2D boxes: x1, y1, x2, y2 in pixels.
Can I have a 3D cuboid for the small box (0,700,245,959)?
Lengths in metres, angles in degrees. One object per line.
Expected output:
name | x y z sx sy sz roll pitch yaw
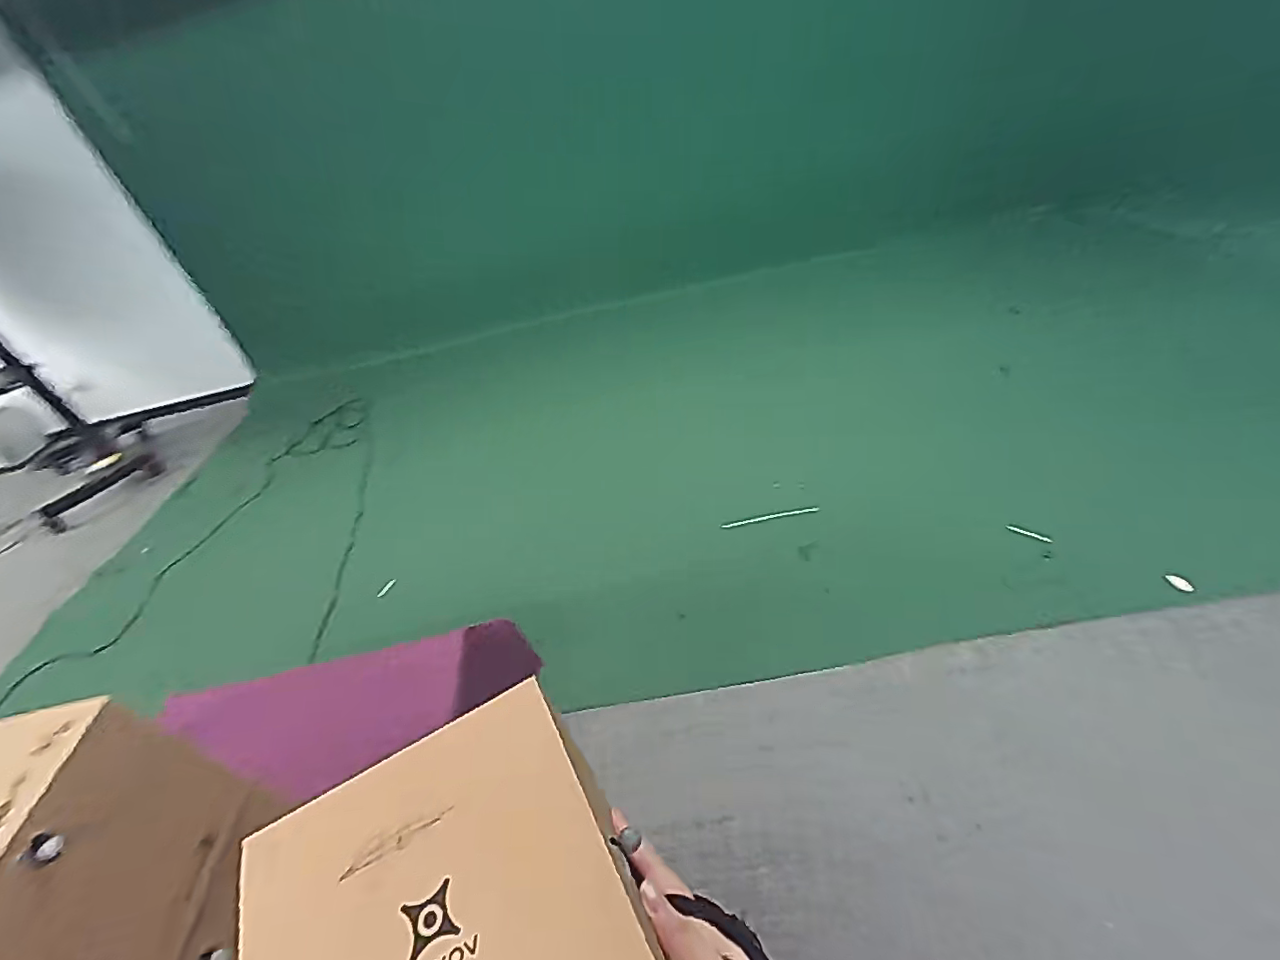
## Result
small box | -0.466 0.302 0.412 0.179 0.176 0.168 -16 40 3

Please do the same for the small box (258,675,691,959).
small box | -0.074 0.252 0.298 0.168 0.176 0.179 -25 46 -13
